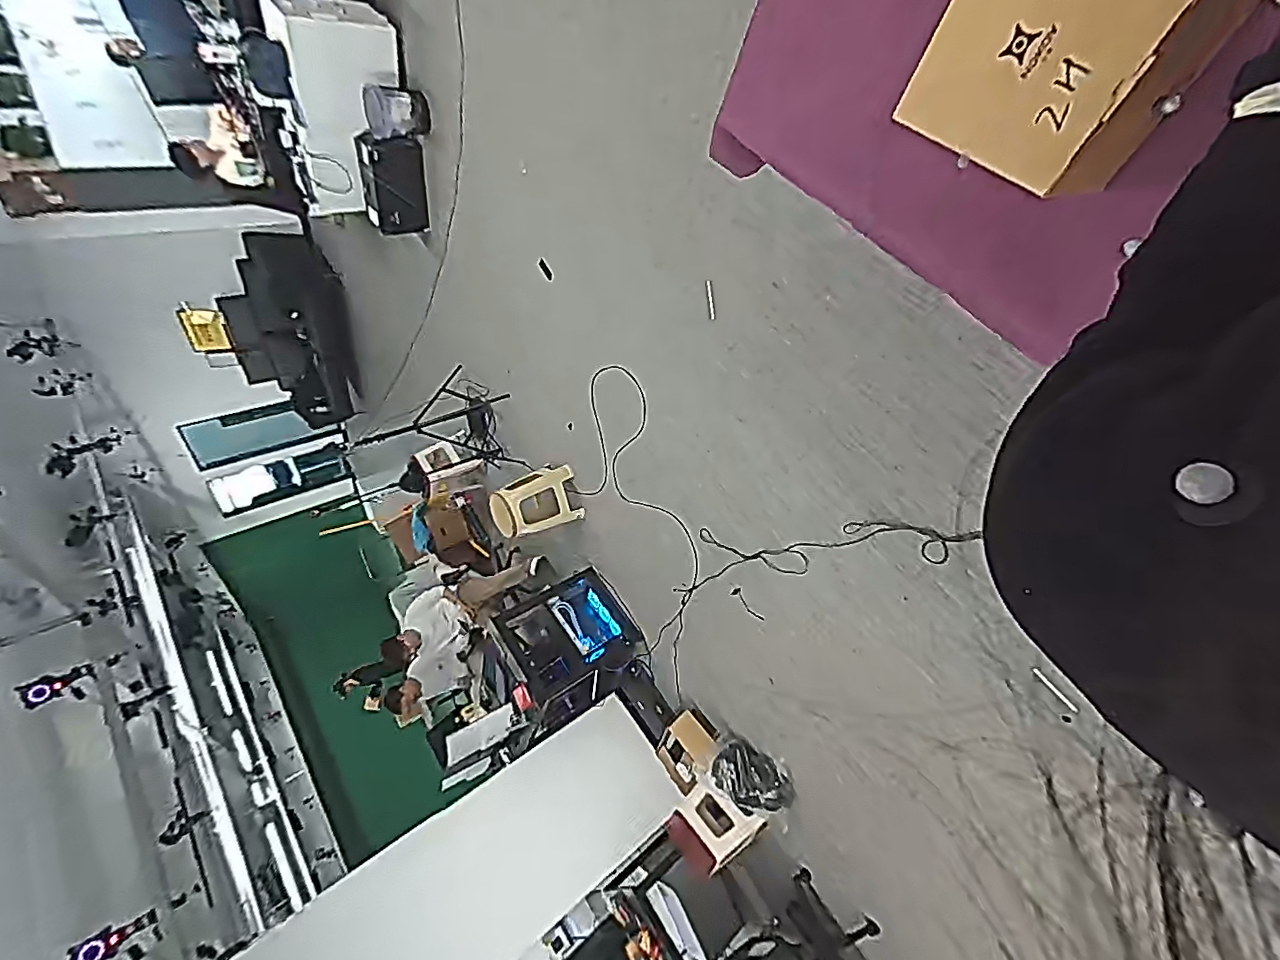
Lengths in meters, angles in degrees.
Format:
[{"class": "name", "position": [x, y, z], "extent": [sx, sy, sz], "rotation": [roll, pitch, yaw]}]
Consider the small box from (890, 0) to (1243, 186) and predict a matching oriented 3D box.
[{"class": "small box", "position": [0.384, -0.396, 0.501], "extent": [0.179, 0.176, 0.168], "rotation": [49, 143, 24]}]
